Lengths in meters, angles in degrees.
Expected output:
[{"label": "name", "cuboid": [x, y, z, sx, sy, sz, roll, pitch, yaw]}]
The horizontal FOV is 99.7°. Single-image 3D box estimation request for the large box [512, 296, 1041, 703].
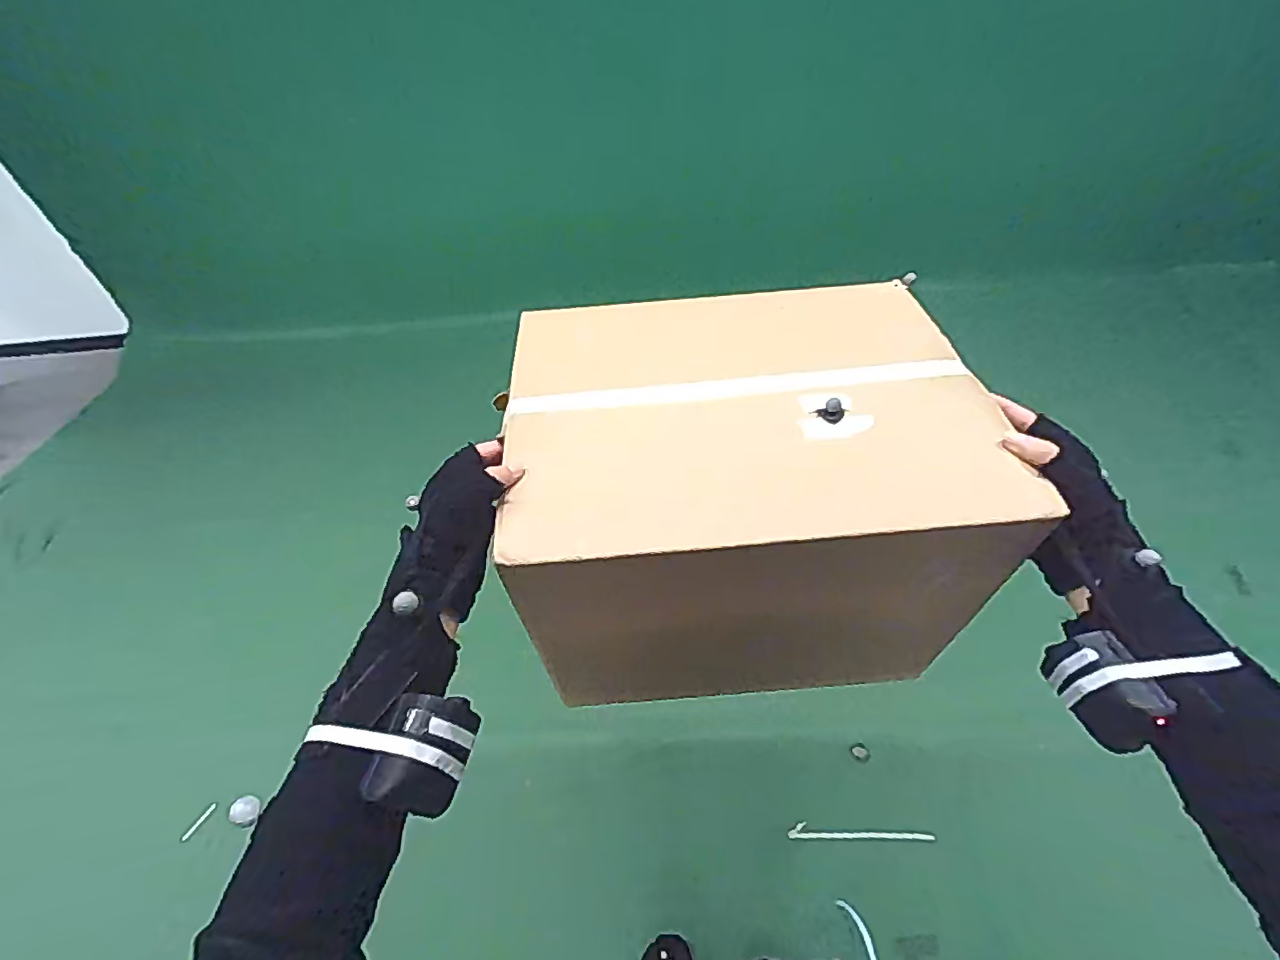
[{"label": "large box", "cuboid": [0.094, 0.026, 0.602, 0.408, 0.320, 0.320, -5, 50, -1]}]
